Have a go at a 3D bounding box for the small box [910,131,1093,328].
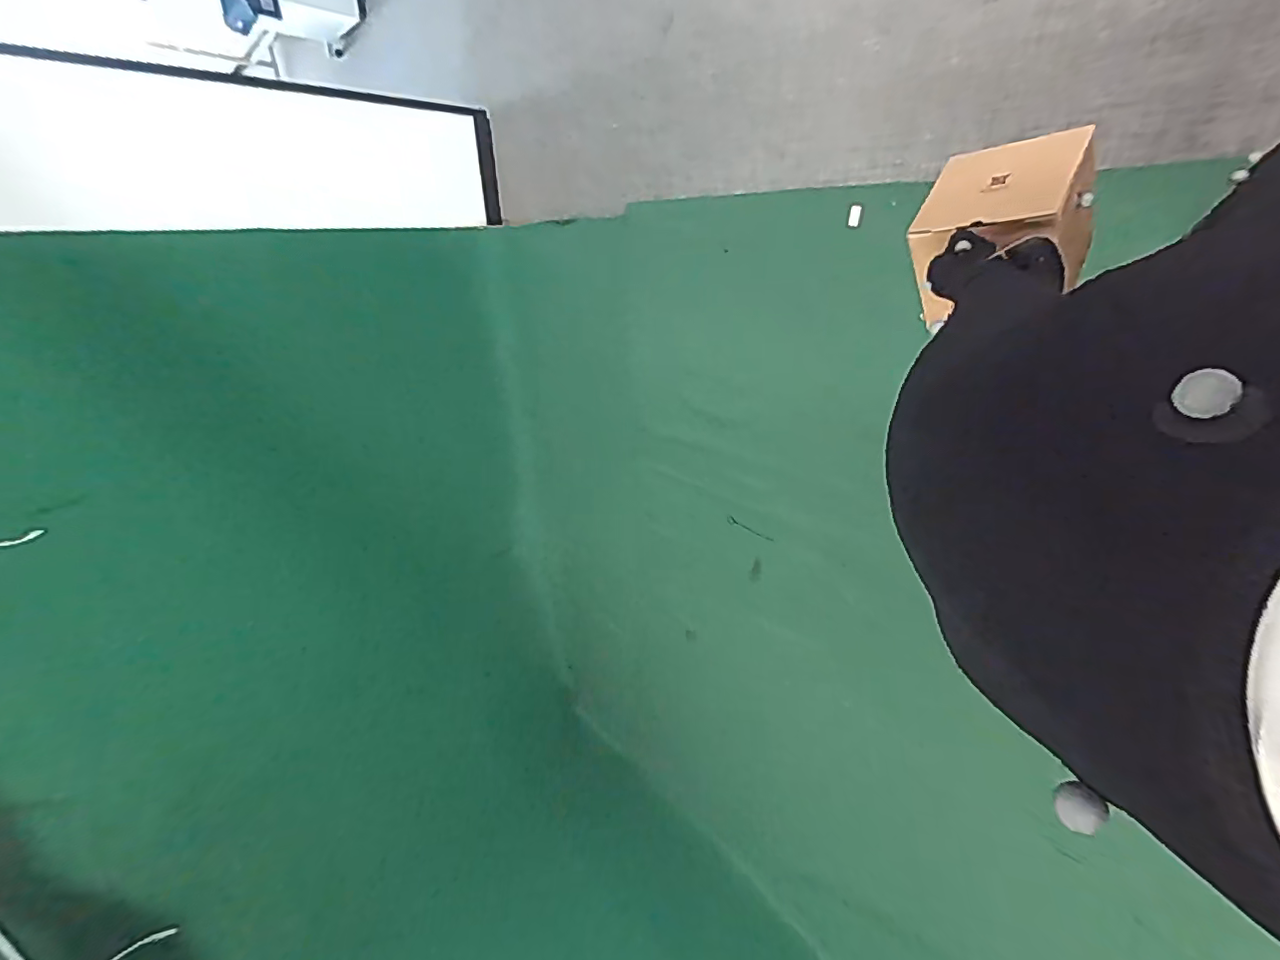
[{"bbox_3d":[0.503,-0.335,0.753,0.168,0.179,0.176,14,154,45],"label":"small box"}]
